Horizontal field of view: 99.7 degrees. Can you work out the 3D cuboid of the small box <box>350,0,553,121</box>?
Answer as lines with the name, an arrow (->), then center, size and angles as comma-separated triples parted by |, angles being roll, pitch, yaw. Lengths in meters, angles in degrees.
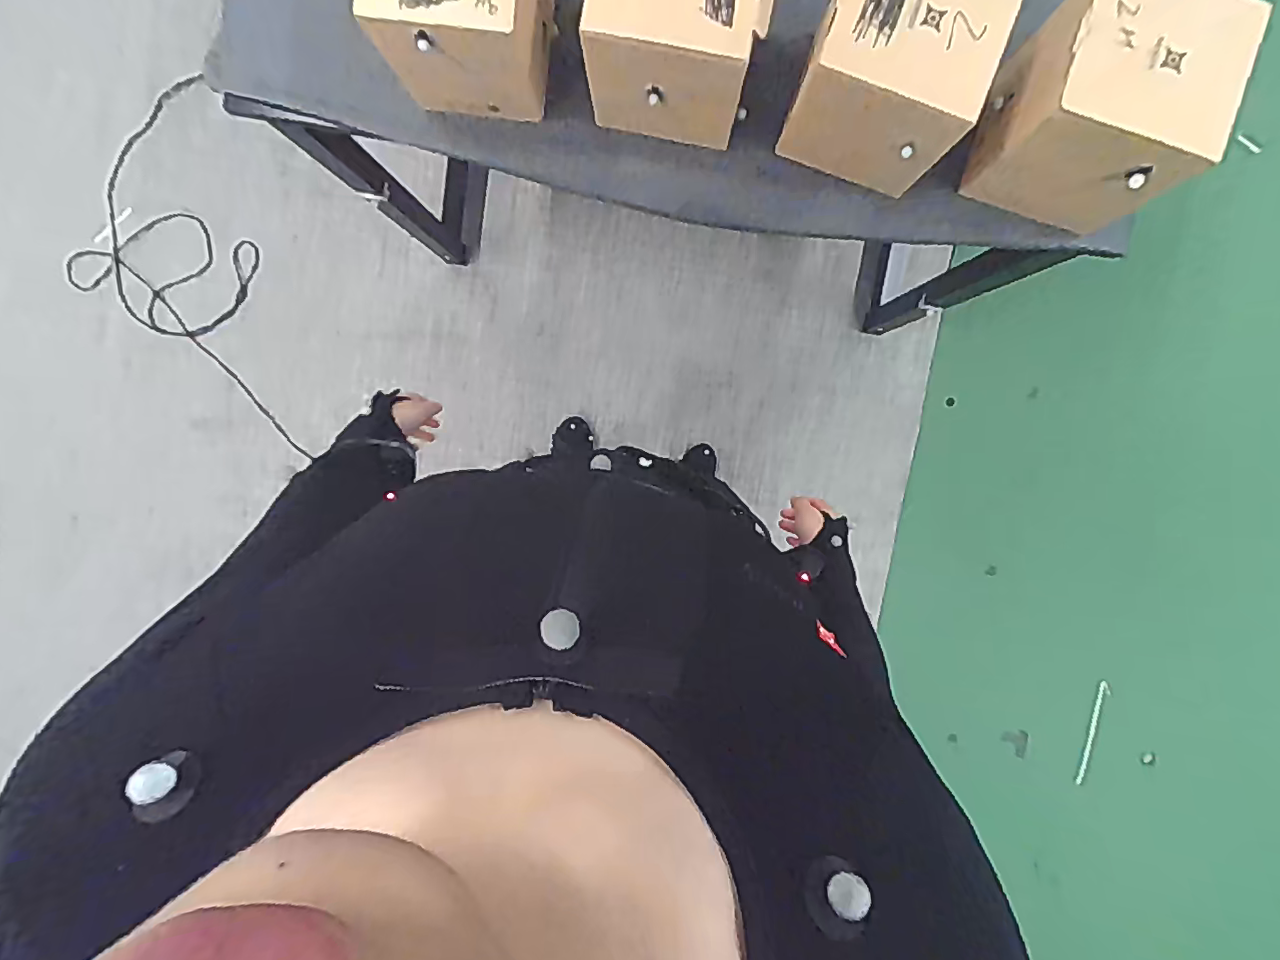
small box -> -0.199, -0.554, 0.613 | 0.168, 0.176, 0.179 | 7, 96, 1
